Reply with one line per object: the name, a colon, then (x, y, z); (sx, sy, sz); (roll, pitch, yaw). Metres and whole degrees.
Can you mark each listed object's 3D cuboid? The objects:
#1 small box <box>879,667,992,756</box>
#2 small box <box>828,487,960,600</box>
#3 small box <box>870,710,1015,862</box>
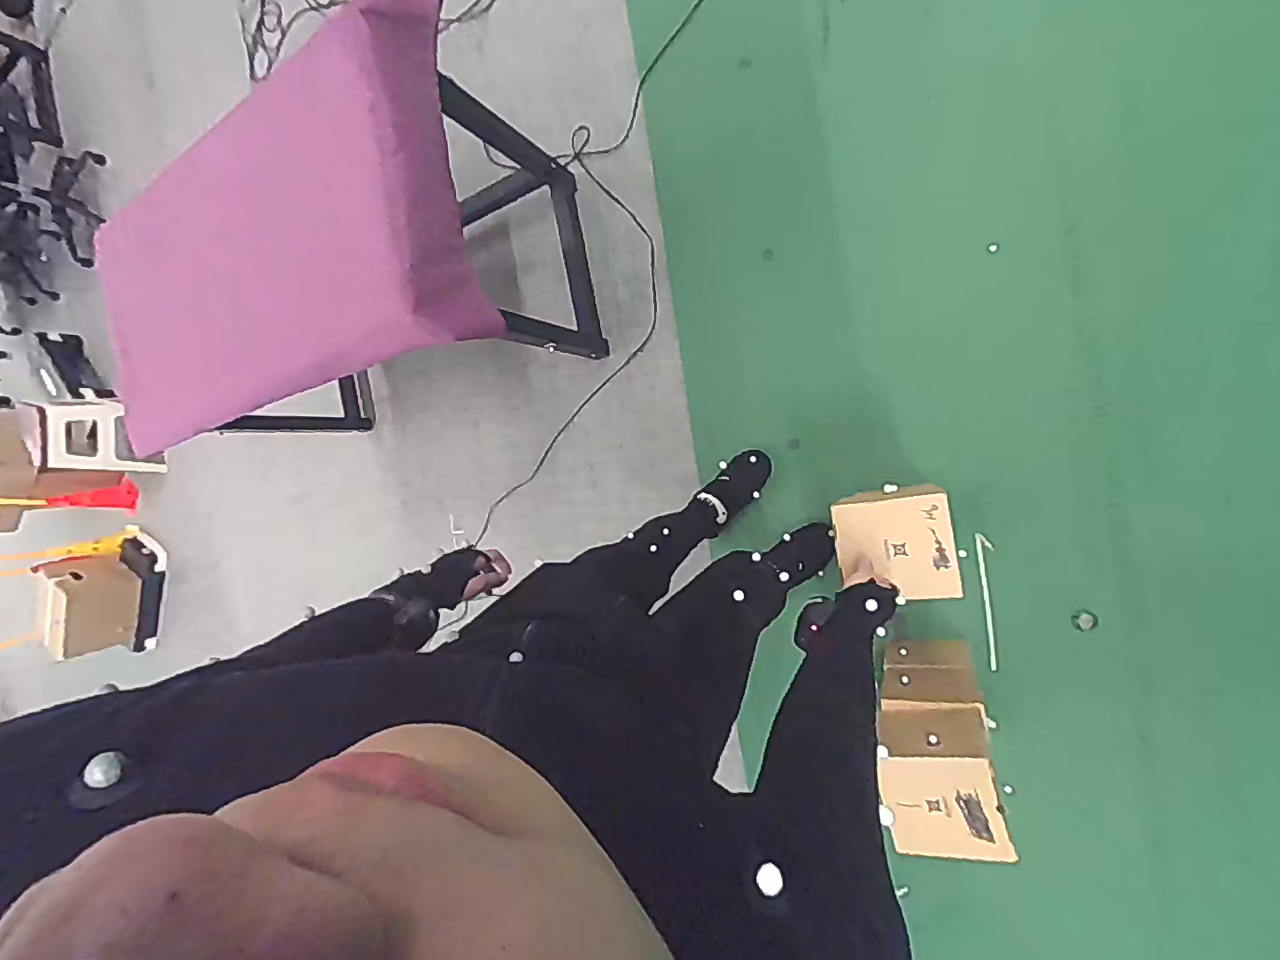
small box: (0.589, 0.485, 1.077); (0.179, 0.176, 0.168); (-10, 91, 28)
small box: (0.441, 0.107, 0.937); (0.179, 0.176, 0.168); (-9, 89, 28)
small box: (0.515, 0.514, 0.934); (0.179, 0.176, 0.168); (-16, 88, 30)
